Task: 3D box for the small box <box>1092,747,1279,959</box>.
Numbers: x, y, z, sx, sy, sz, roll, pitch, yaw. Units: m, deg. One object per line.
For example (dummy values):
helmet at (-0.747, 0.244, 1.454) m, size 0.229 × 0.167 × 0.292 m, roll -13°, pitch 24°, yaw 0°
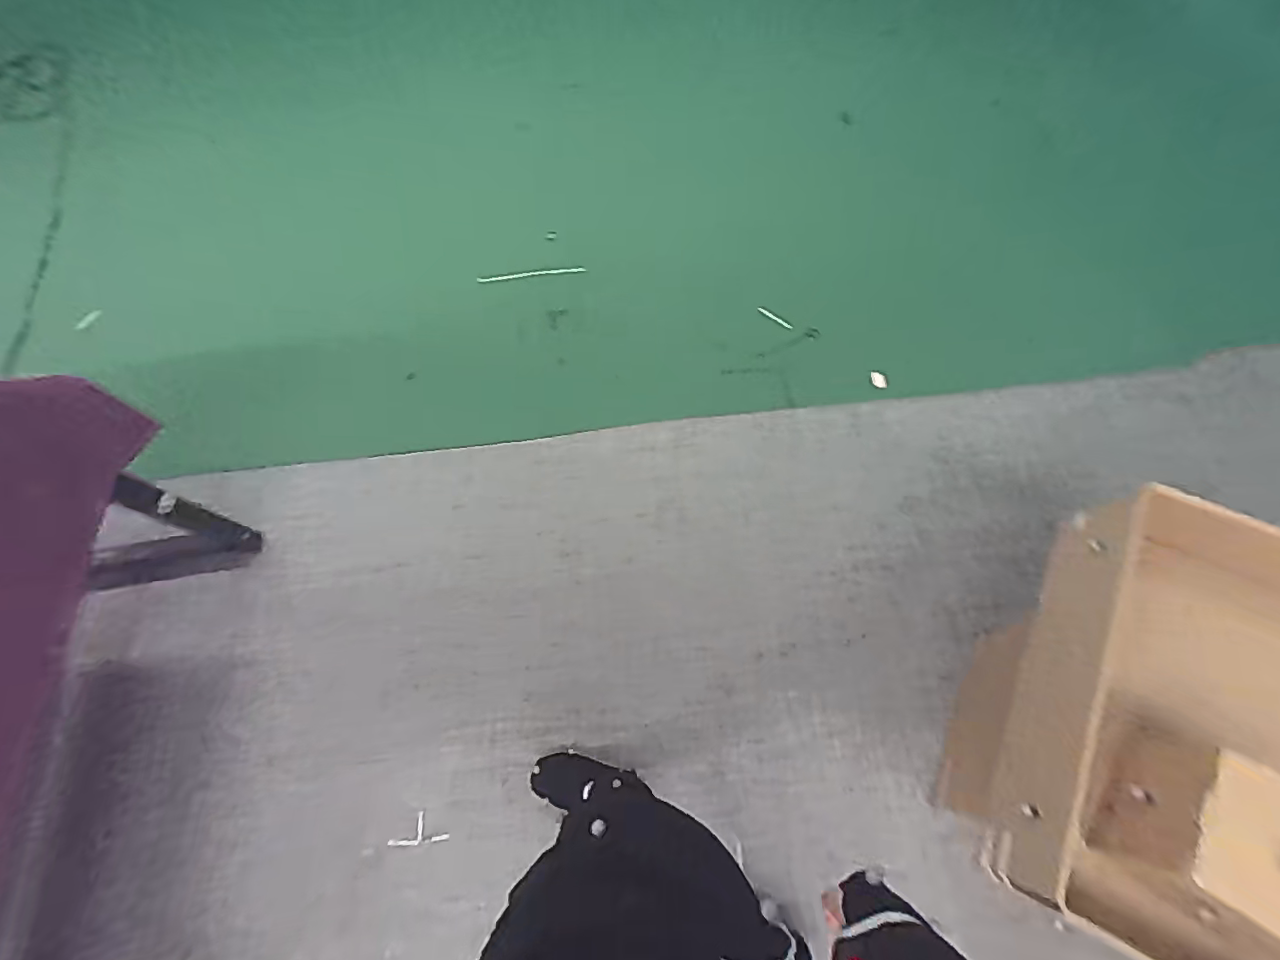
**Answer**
small box at (0.728, 0.463, 0.676) m, size 0.179 × 0.176 × 0.168 m, roll 32°, pitch 72°, yaw 17°
